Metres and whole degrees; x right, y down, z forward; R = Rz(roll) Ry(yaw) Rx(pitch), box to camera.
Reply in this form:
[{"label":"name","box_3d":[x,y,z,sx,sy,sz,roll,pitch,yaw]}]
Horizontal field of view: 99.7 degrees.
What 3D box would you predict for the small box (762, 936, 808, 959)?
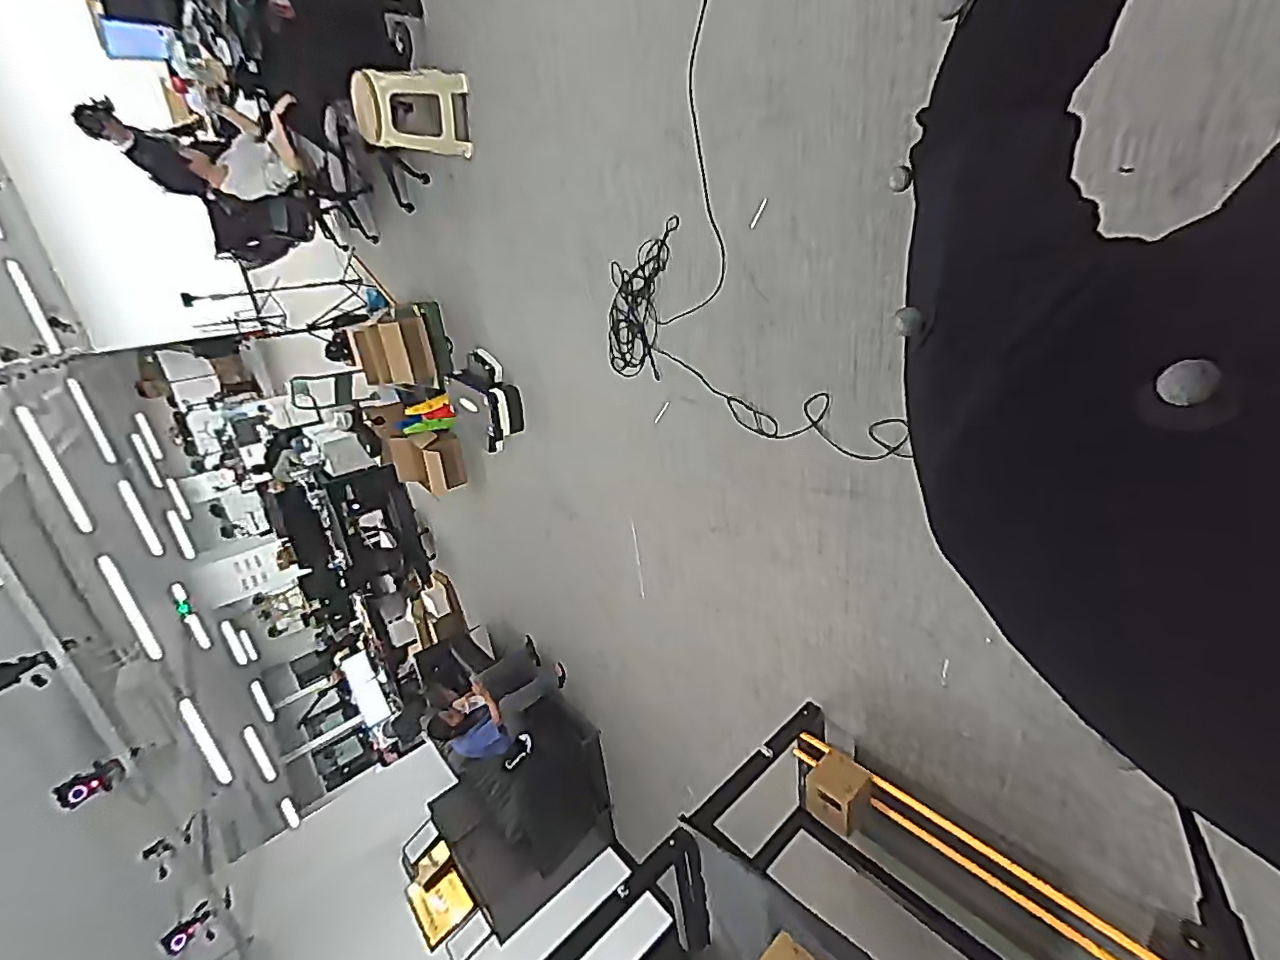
[{"label":"small box","box_3d":[0.399,1.388,1.434,0.168,0.176,0.179,14,120,48]}]
